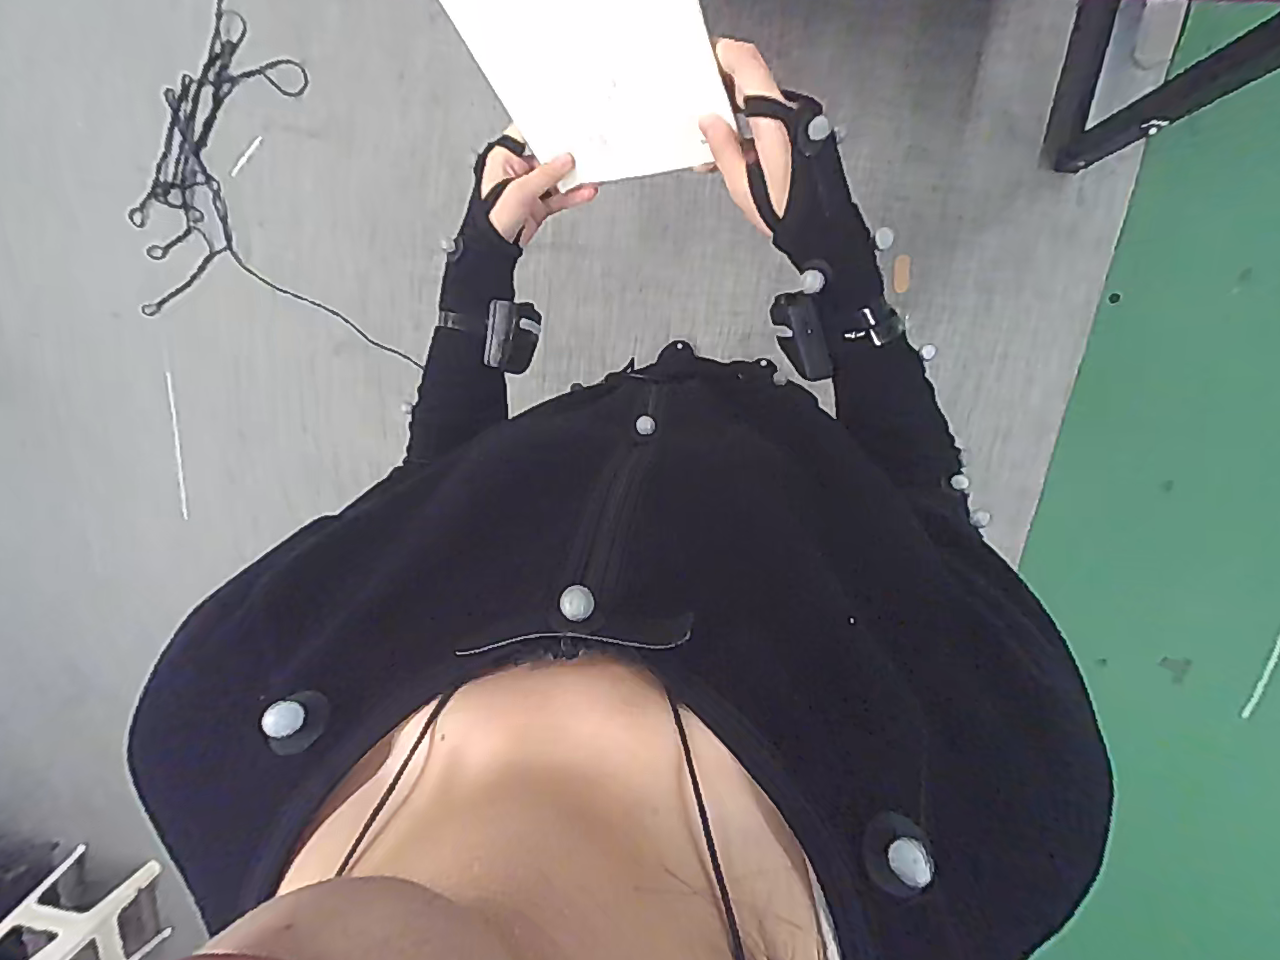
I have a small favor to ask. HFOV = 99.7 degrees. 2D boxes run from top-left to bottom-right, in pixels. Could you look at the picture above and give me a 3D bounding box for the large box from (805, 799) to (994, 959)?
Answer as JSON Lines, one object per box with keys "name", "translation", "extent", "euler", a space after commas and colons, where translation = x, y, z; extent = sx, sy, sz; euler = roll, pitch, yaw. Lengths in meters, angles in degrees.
{"name": "large box", "translation": [0.711, 1.154, 1.531], "extent": [0.408, 0.320, 0.320], "euler": [-6, 103, 8]}
